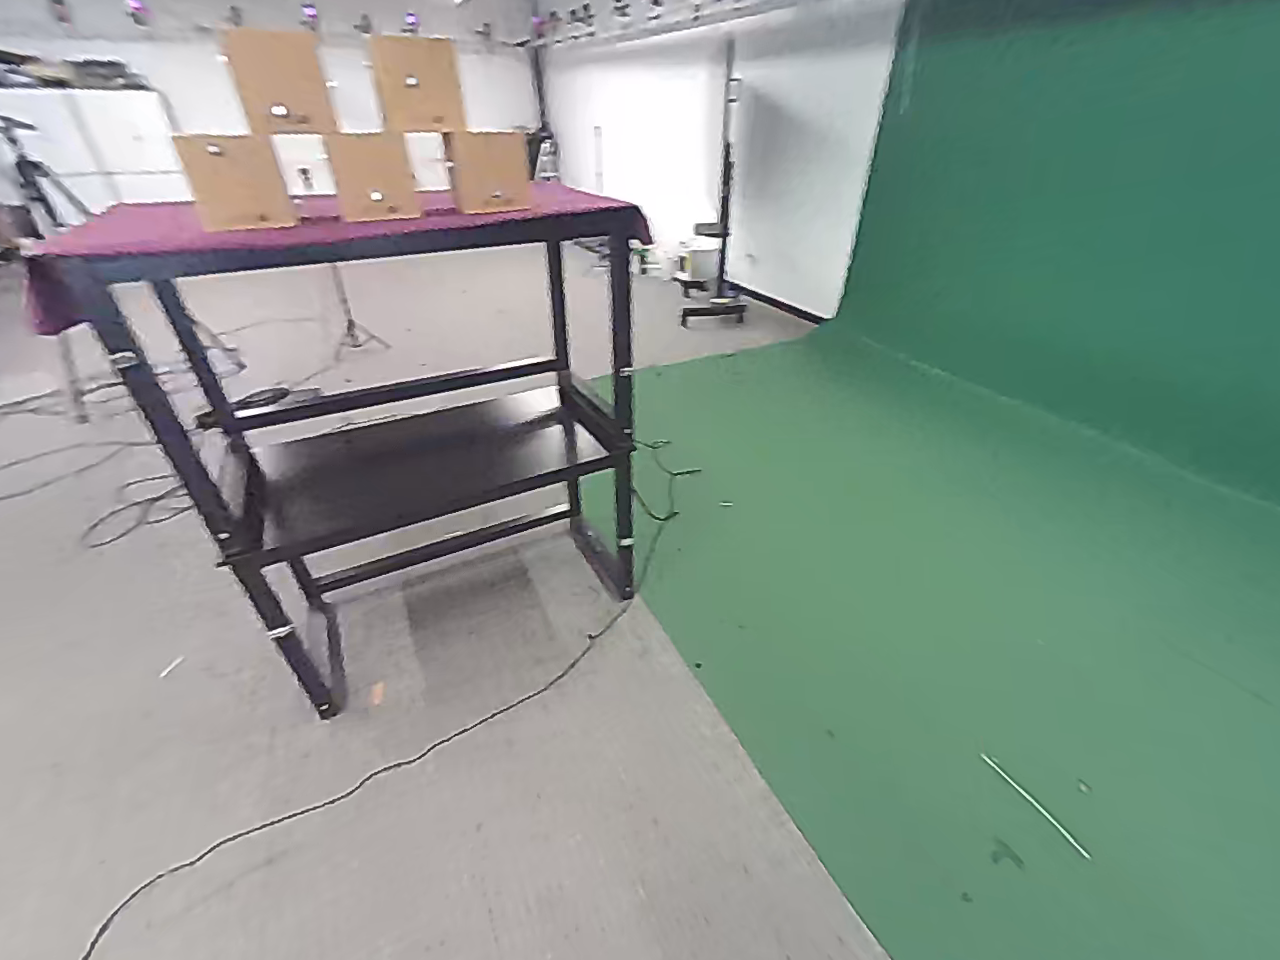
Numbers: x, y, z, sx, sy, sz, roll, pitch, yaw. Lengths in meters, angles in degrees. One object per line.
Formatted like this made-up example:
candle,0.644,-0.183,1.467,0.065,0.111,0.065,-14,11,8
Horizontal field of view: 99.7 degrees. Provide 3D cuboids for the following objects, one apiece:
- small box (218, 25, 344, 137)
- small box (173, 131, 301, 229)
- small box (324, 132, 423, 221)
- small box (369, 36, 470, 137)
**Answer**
small box,-0.717,-0.801,1.100,0.168,0.176,0.179,-15,37,-21
small box,-0.831,-0.629,1.134,0.168,0.176,0.179,-17,36,-23
small box,-0.608,-0.694,1.235,0.168,0.176,0.179,-16,37,-22
small box,-0.486,-0.863,1.197,0.168,0.176,0.179,-16,36,-22
